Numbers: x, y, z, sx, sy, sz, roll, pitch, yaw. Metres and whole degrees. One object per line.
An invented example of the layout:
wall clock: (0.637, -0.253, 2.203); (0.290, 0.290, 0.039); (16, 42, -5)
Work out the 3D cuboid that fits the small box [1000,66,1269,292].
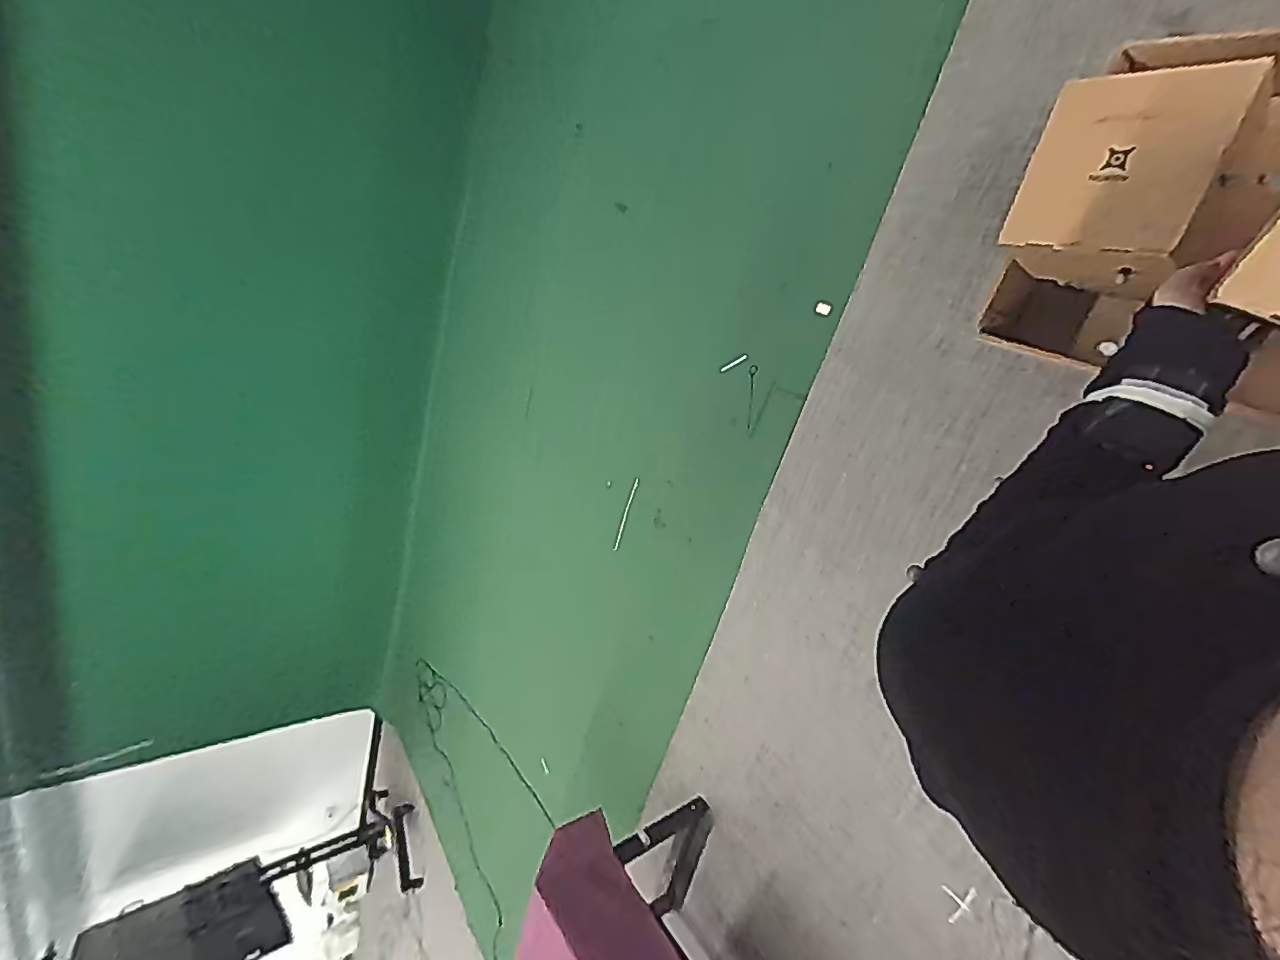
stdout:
small box: (0.565, -0.331, 0.625); (0.168, 0.176, 0.179); (33, 114, 43)
